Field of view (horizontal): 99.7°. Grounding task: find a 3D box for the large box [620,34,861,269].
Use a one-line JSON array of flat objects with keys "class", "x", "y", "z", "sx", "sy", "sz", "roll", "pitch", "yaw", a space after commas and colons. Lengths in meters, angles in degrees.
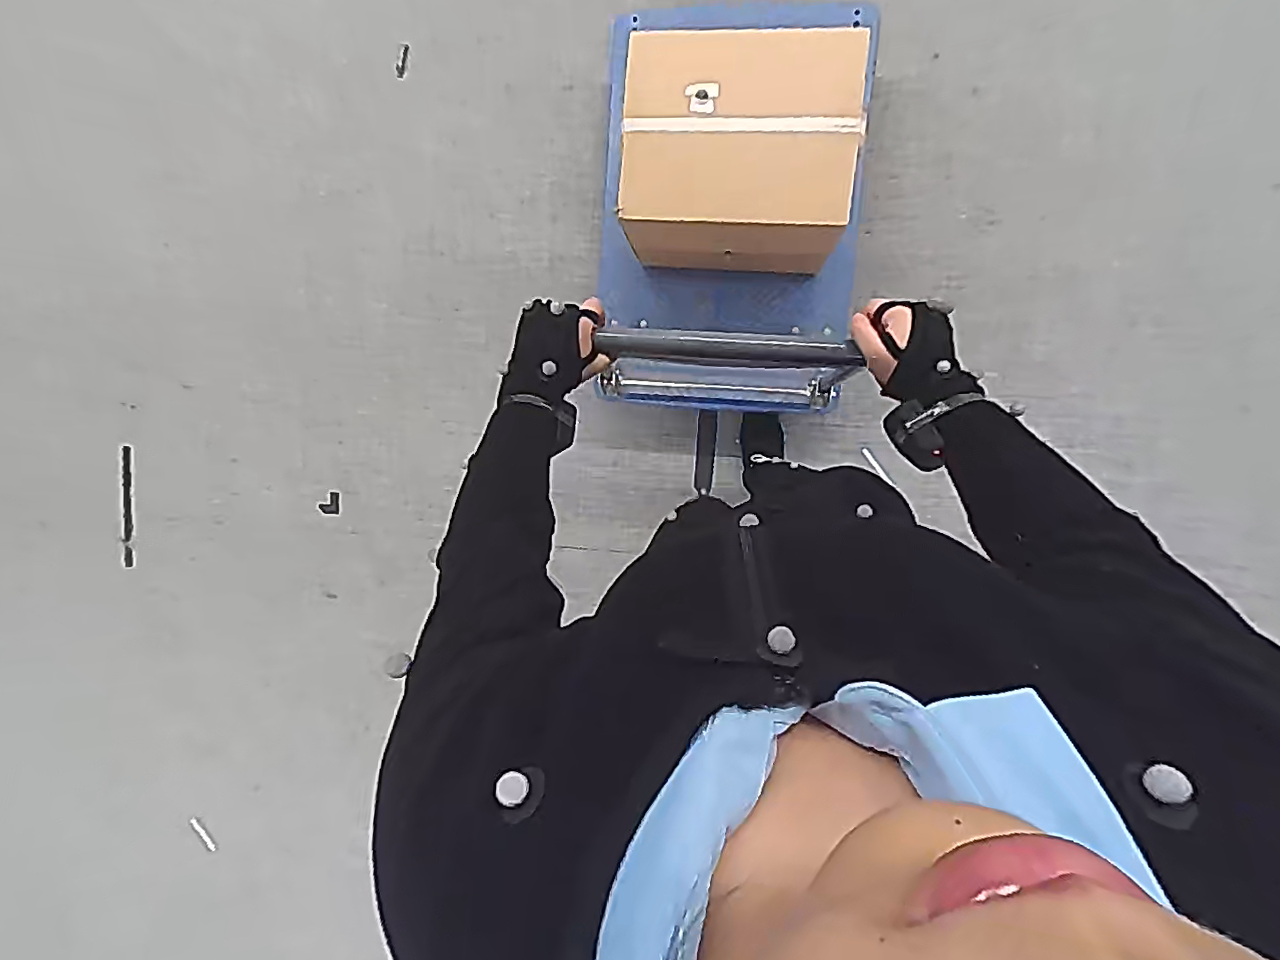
[{"class": "large box", "x": 0.193, "y": -0.628, "z": 1.098, "sx": 0.408, "sy": 0.320, "sz": 0.320, "roll": 6, "pitch": 96, "yaw": 9}]
